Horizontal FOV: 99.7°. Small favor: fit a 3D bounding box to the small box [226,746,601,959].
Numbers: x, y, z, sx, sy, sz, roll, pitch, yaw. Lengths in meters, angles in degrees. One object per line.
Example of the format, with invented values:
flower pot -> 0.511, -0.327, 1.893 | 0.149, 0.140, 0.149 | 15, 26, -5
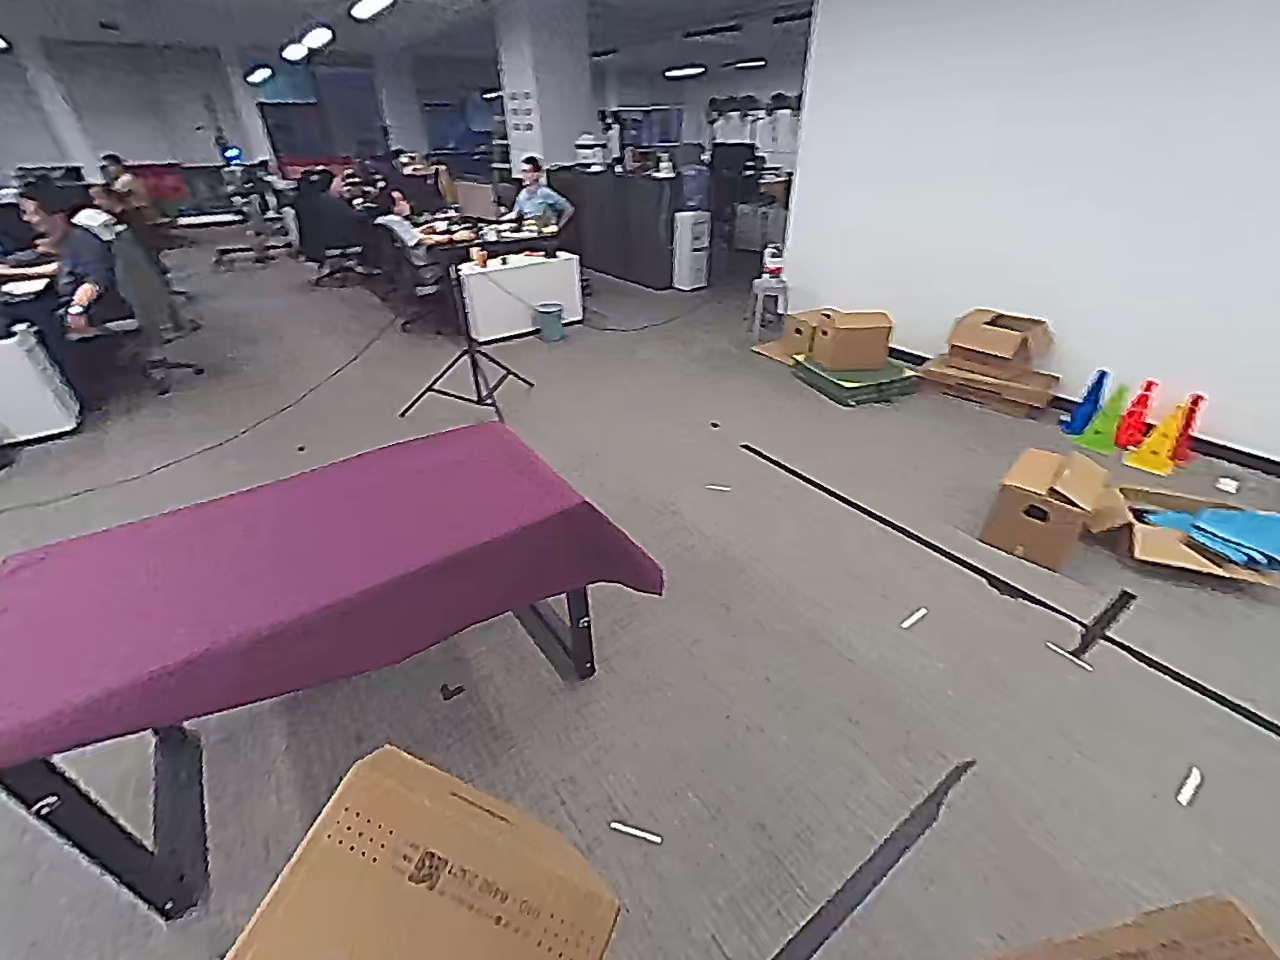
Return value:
small box -> -0.141, 0.284, 0.331 | 0.168, 0.179, 0.176 | 31, 63, -3
